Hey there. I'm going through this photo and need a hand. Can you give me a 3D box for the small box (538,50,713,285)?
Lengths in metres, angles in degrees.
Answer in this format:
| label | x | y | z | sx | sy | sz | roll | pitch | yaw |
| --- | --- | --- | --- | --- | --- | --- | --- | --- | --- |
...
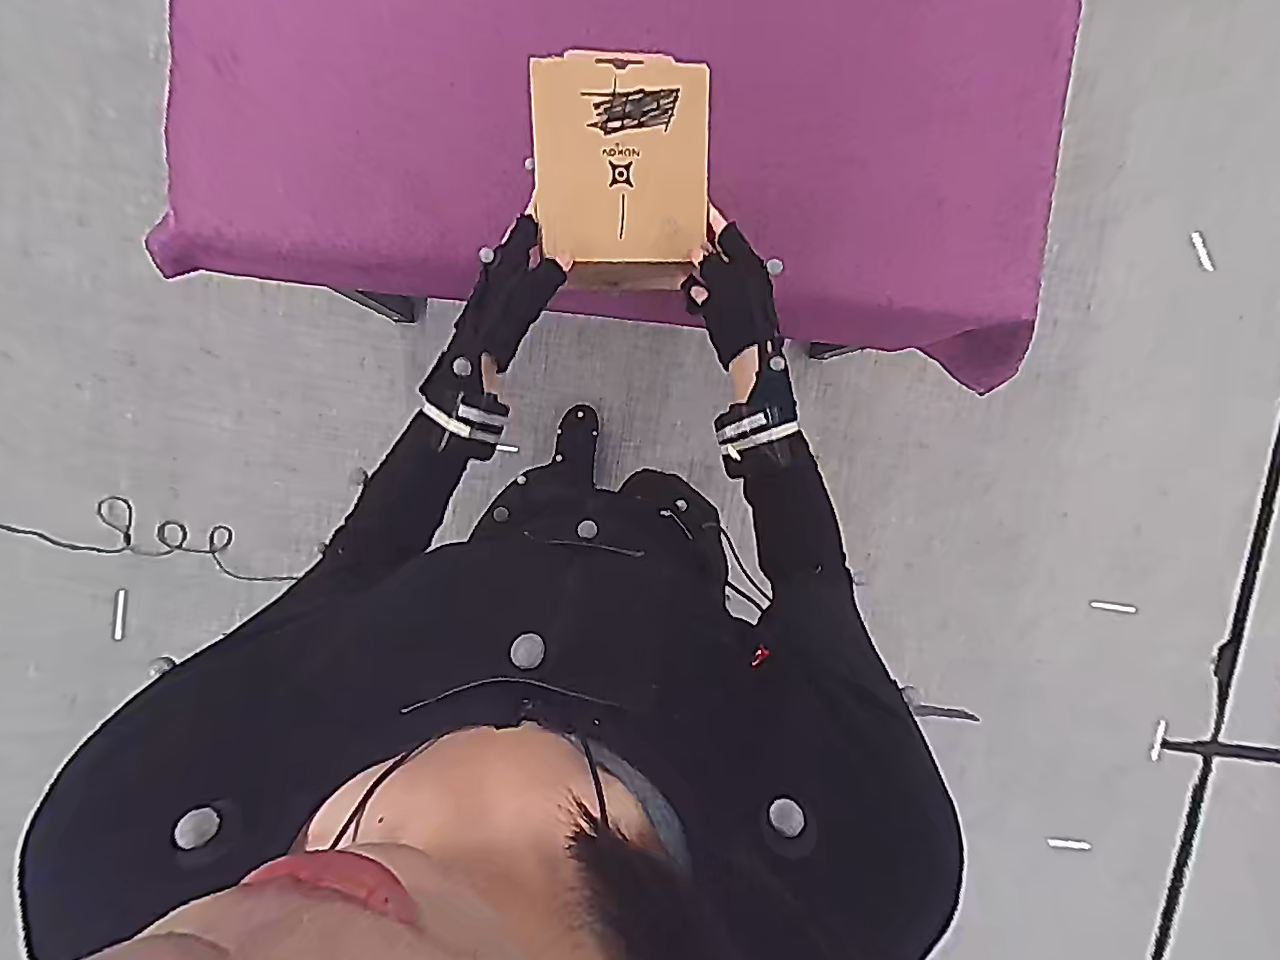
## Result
| label | x | y | z | sx | sy | sz | roll | pitch | yaw |
| --- | --- | --- | --- | --- | --- | --- | --- | --- | --- |
| small box | -0.020 | -0.320 | 0.589 | 0.168 | 0.176 | 0.179 | -1 | 101 | -4 |
